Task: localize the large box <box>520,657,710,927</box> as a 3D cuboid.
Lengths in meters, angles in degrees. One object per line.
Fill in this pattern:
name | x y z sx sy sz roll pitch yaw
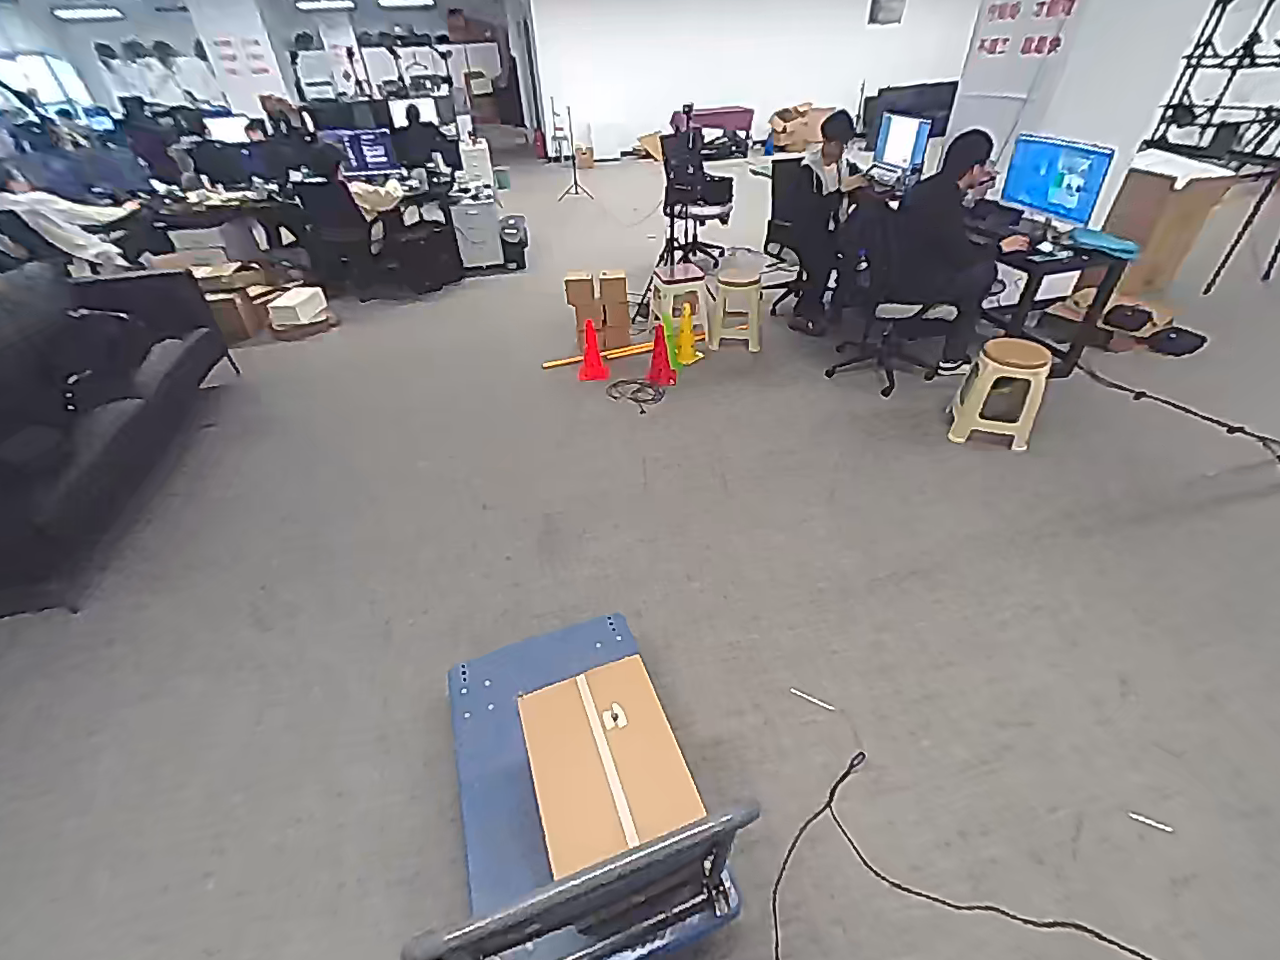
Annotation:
large box | -0.062 0.712 1.268 0.320 0.320 0.408 -15 40 -15
